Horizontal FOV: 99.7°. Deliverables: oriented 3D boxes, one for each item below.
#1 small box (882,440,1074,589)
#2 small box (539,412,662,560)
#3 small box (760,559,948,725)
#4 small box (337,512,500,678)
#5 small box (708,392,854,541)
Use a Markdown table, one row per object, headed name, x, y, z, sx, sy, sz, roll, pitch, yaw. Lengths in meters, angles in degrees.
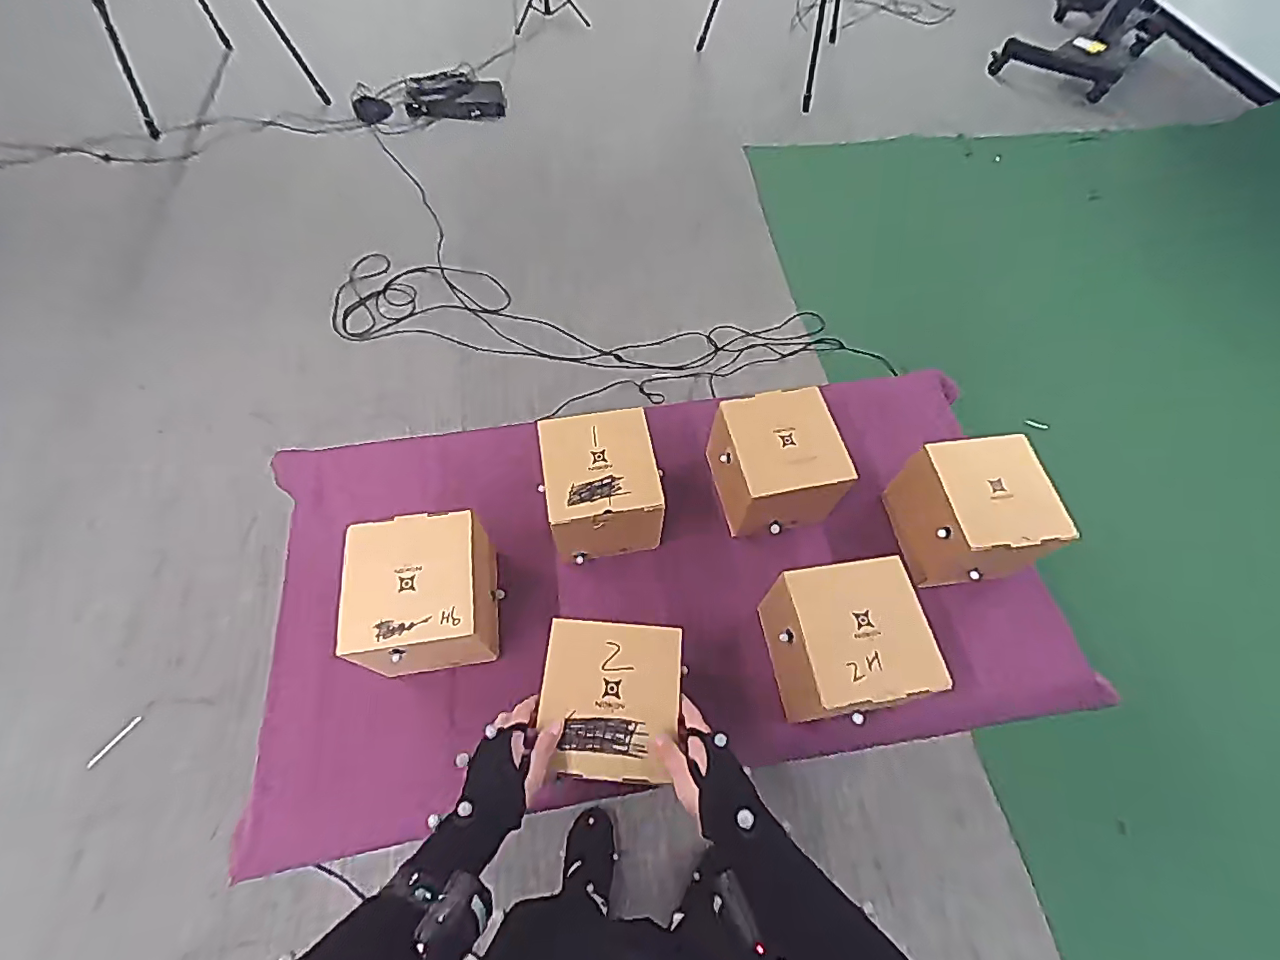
| name | x | y | z | sx | sy | sz | roll | pitch | yaw |
| --- | --- | --- | --- | --- | --- | --- | --- | --- | --- |
| small box | 0.518 | 0.059 | 0.863 | 0.168 | 0.176 | 0.179 | -6 | 62 | -5 |
| small box | -0.062 | 0.018 | 0.864 | 0.168 | 0.176 | 0.179 | -8 | 61 | -7 |
| small box | 0.279 | 0.230 | 0.756 | 0.168 | 0.176 | 0.179 | -7 | 60 | -5 |
| small box | -0.300 | 0.167 | 0.769 | 0.168 | 0.176 | 0.179 | -8 | 61 | -5 |
| small box | 0.219 | -0.018 | 0.896 | 0.168 | 0.176 | 0.179 | -9 | 63 | -6 |
